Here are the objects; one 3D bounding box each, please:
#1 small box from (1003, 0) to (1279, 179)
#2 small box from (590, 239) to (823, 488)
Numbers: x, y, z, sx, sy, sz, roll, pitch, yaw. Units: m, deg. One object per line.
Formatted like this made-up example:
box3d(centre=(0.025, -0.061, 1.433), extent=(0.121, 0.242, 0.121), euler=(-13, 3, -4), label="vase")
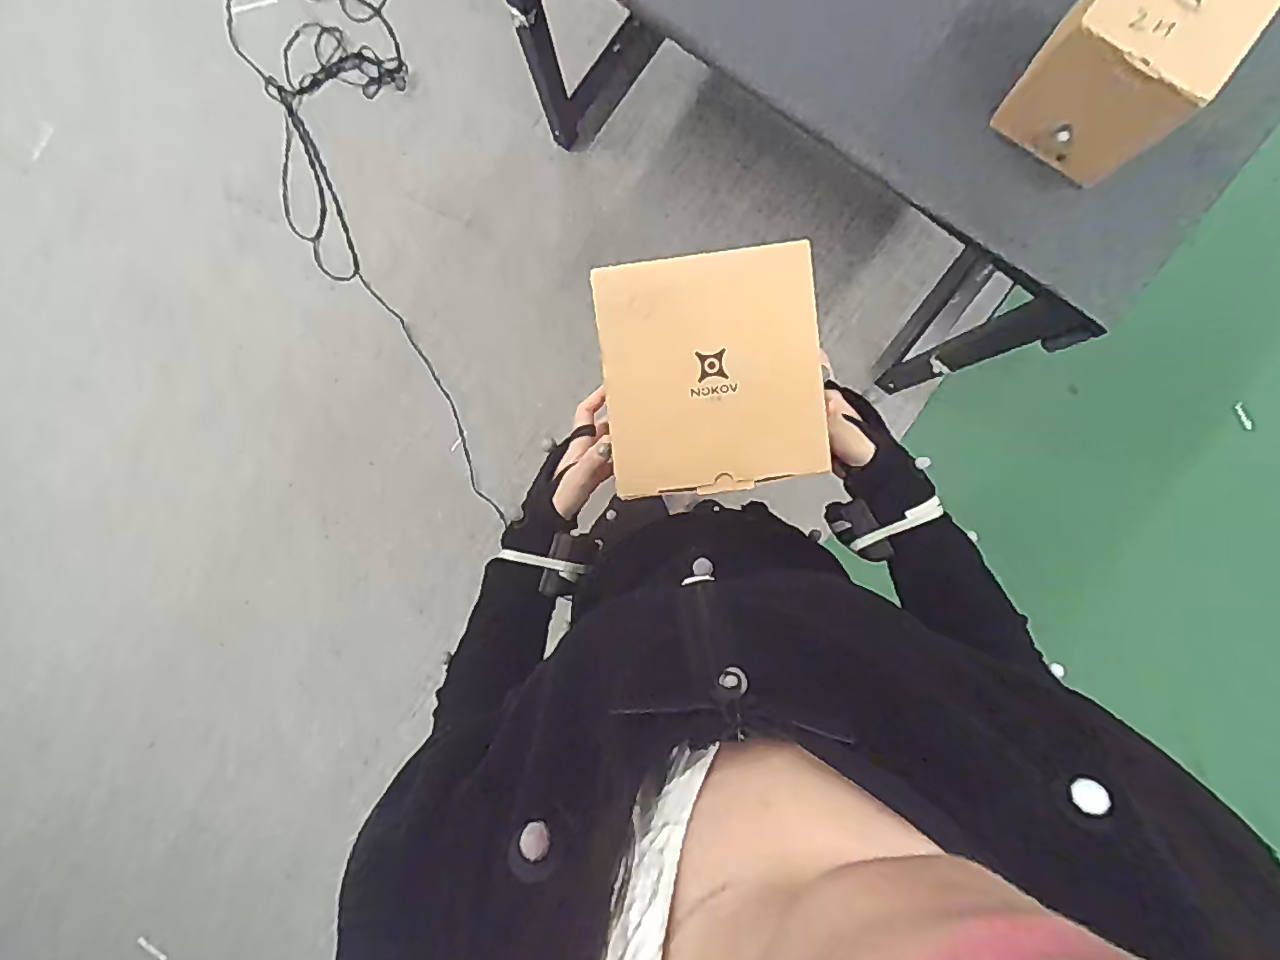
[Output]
box3d(centre=(0.596, -0.520, 0.657), extent=(0.168, 0.176, 0.179), euler=(35, 92, 4), label="small box")
box3d(centre=(0.053, -0.092, 0.494), extent=(0.168, 0.176, 0.179), euler=(-7, 94, 2), label="small box")
